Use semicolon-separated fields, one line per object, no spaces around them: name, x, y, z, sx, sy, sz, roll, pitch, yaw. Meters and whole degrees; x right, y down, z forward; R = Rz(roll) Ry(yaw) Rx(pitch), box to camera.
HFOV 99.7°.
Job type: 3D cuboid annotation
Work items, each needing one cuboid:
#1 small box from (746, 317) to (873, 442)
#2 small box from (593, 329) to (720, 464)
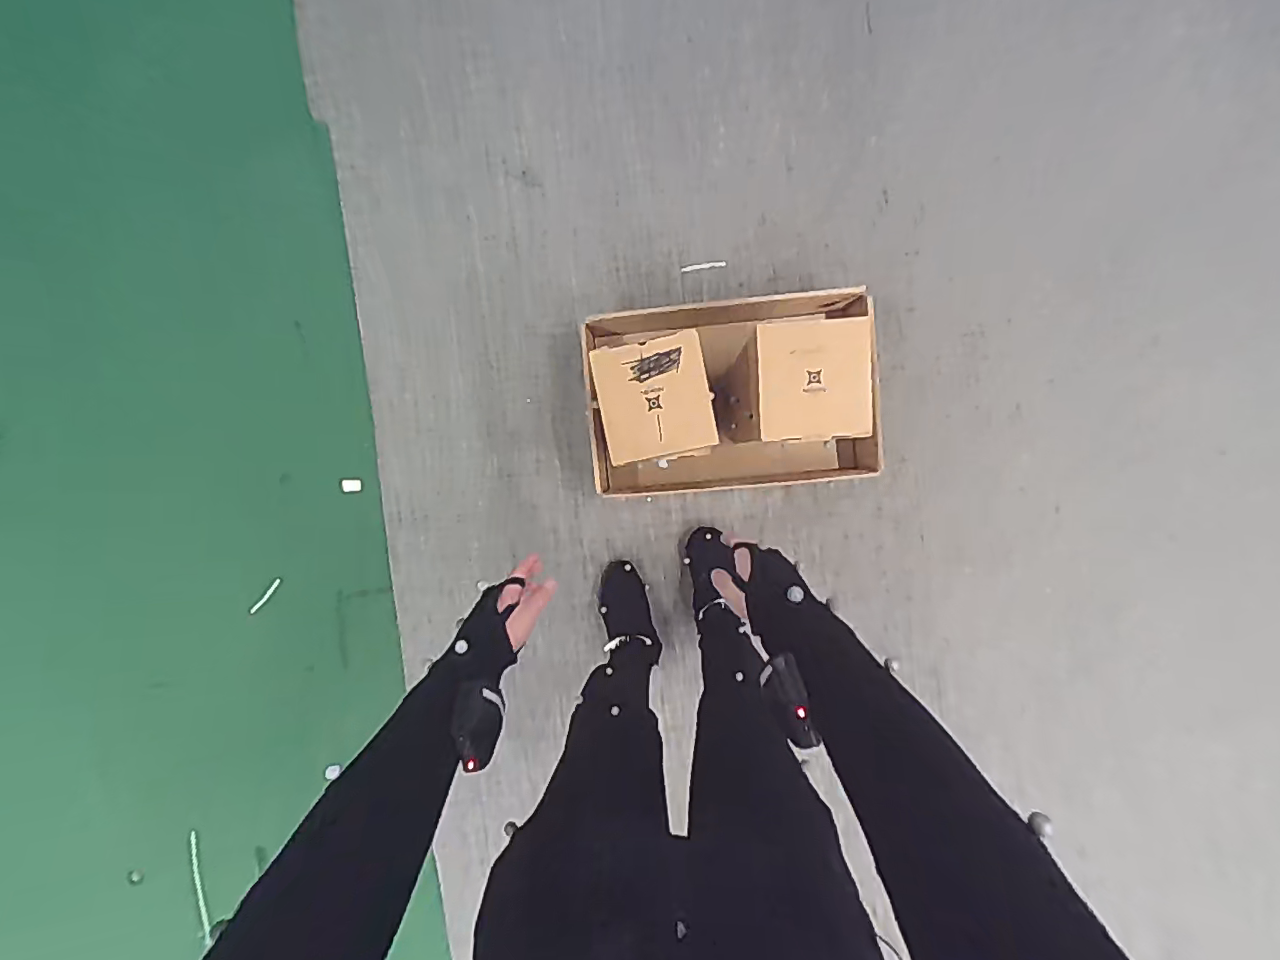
small box;0.264;-0.152;0.871;0.168;0.176;0.179;-2;93;5
small box;0.026;-0.125;0.878;0.168;0.176;0.179;-12;92;3
